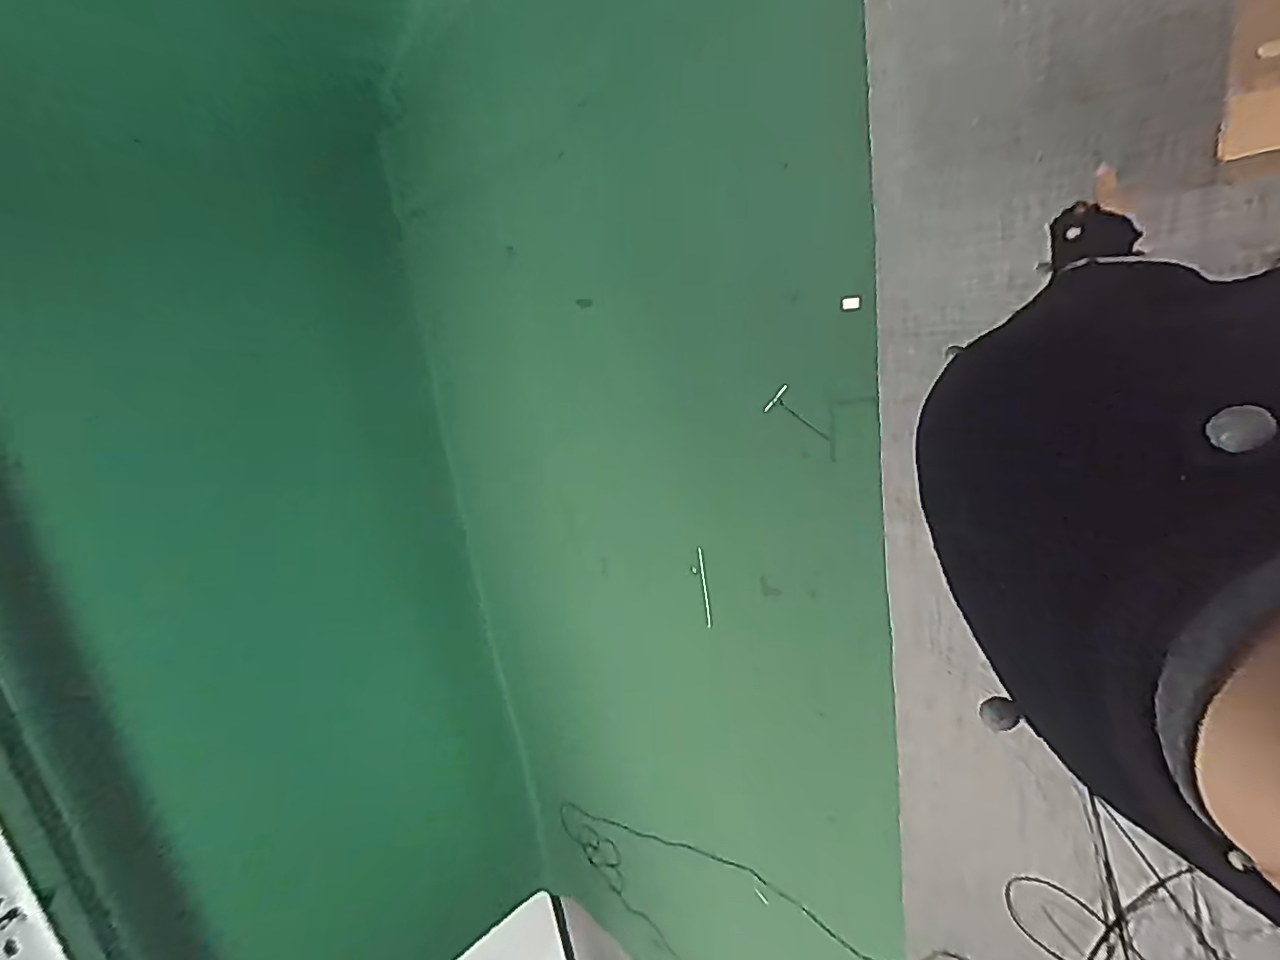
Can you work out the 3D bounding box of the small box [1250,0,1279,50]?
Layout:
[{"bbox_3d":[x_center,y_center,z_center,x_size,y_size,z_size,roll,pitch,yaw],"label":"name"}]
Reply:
[{"bbox_3d":[0.612,-0.472,0.412,0.168,0.176,0.179,21,120,42],"label":"small box"}]
